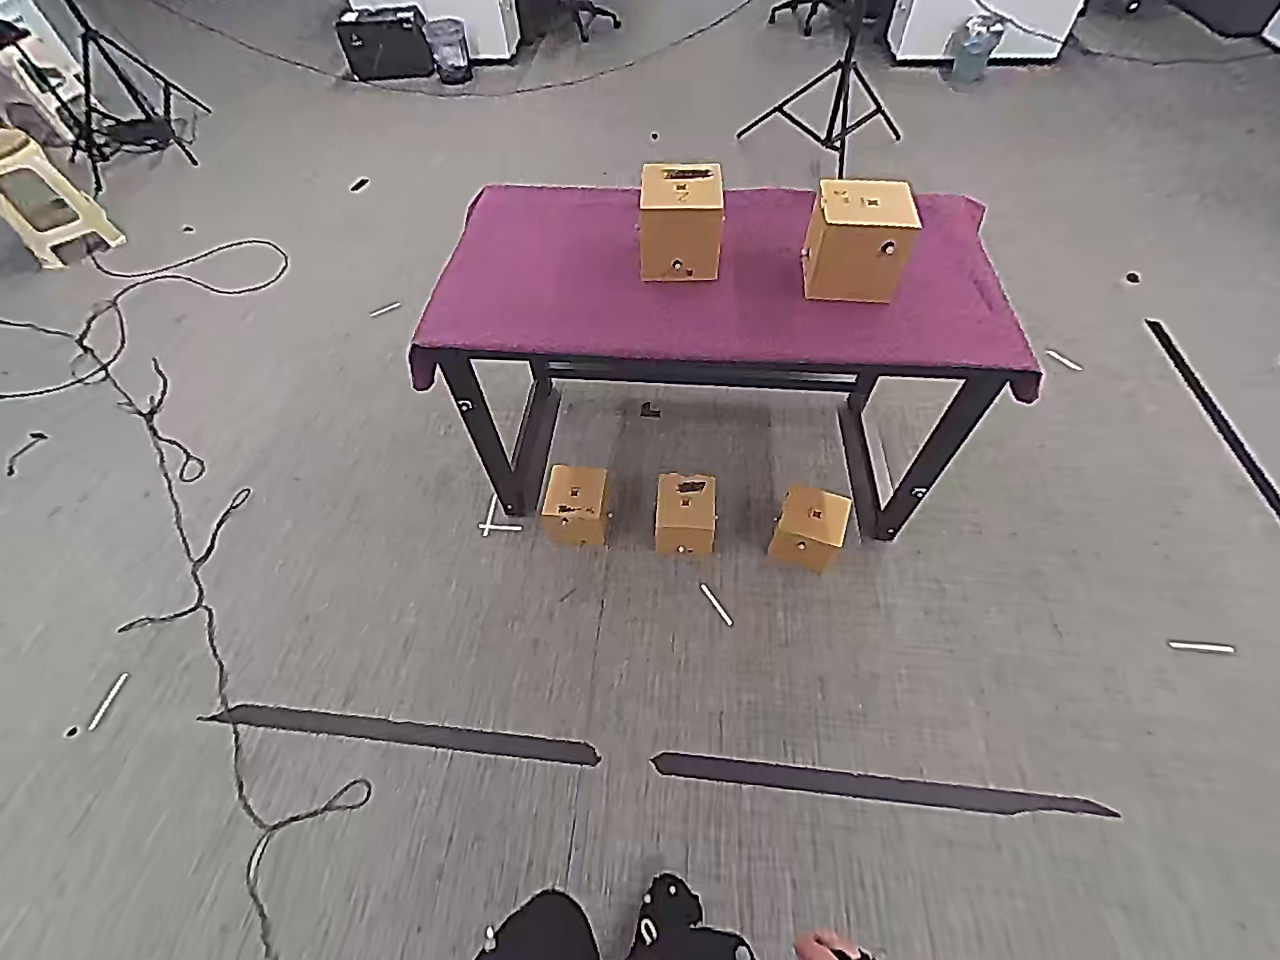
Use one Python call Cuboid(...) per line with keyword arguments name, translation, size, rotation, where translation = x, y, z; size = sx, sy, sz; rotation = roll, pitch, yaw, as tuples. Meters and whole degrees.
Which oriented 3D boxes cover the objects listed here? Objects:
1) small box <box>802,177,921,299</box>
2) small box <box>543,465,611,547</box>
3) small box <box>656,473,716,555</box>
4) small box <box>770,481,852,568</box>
Cuboid(name="small box", translation=(0.441, -0.489, 1.103), size=(0.179, 0.176, 0.168), rotation=(4, 55, 6))
Cuboid(name="small box", translation=(-0.180, 0.078, 1.623), size=(0.168, 0.176, 0.179), rotation=(5, 54, 5))
Cuboid(name="small box", translation=(0.134, 0.101, 1.594), size=(0.168, 0.176, 0.179), rotation=(2, 56, 4))
Cuboid(name="small box", translation=(0.488, 0.135, 1.559), size=(0.179, 0.176, 0.168), rotation=(17, 58, 15))
